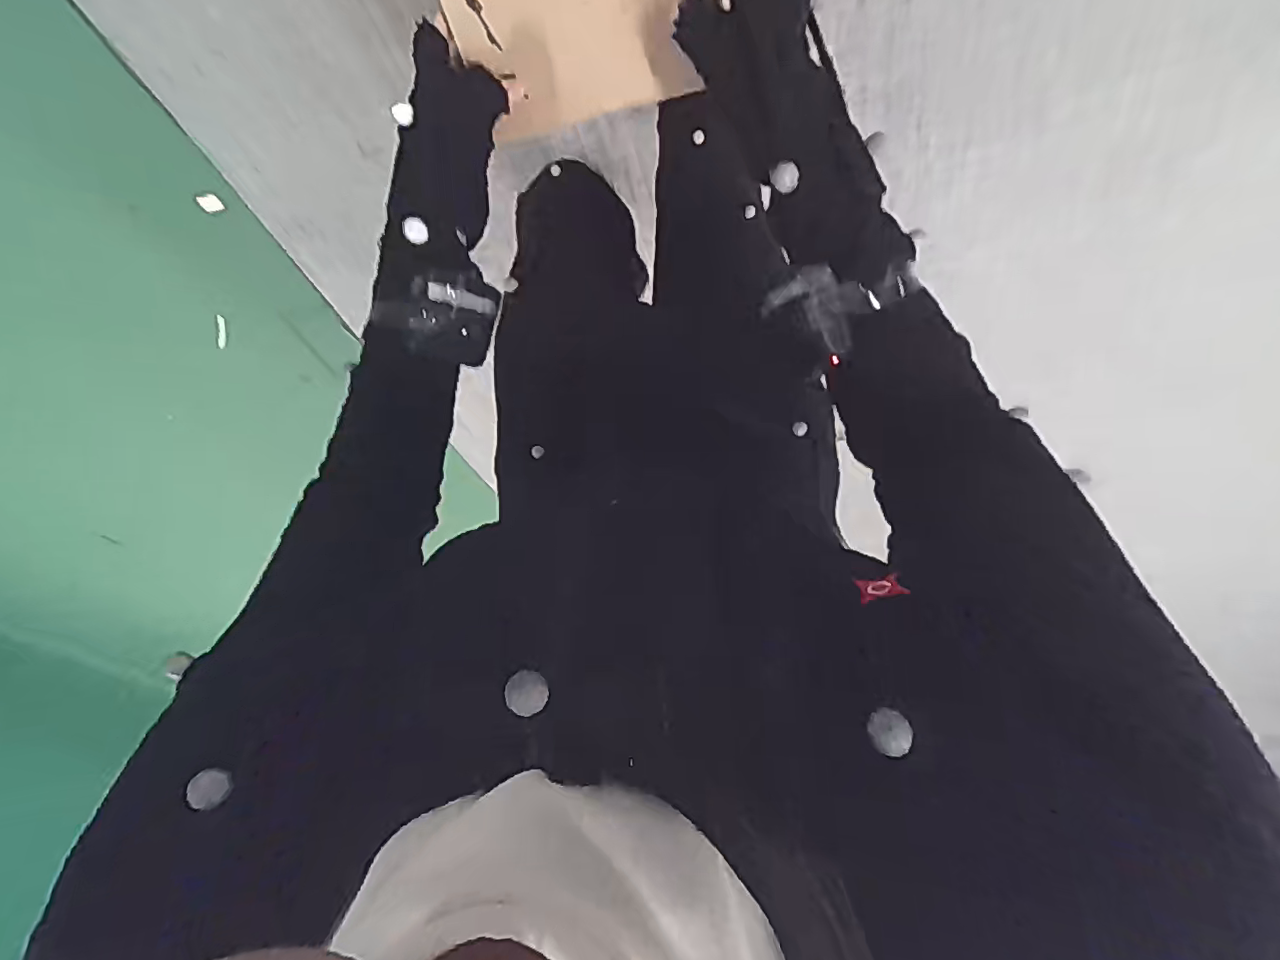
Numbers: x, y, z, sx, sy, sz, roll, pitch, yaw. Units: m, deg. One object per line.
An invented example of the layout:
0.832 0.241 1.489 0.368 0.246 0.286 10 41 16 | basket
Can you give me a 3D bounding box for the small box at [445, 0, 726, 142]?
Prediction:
-0.035 -0.381 0.393 0.179 0.176 0.168 -5 133 18 | small box
